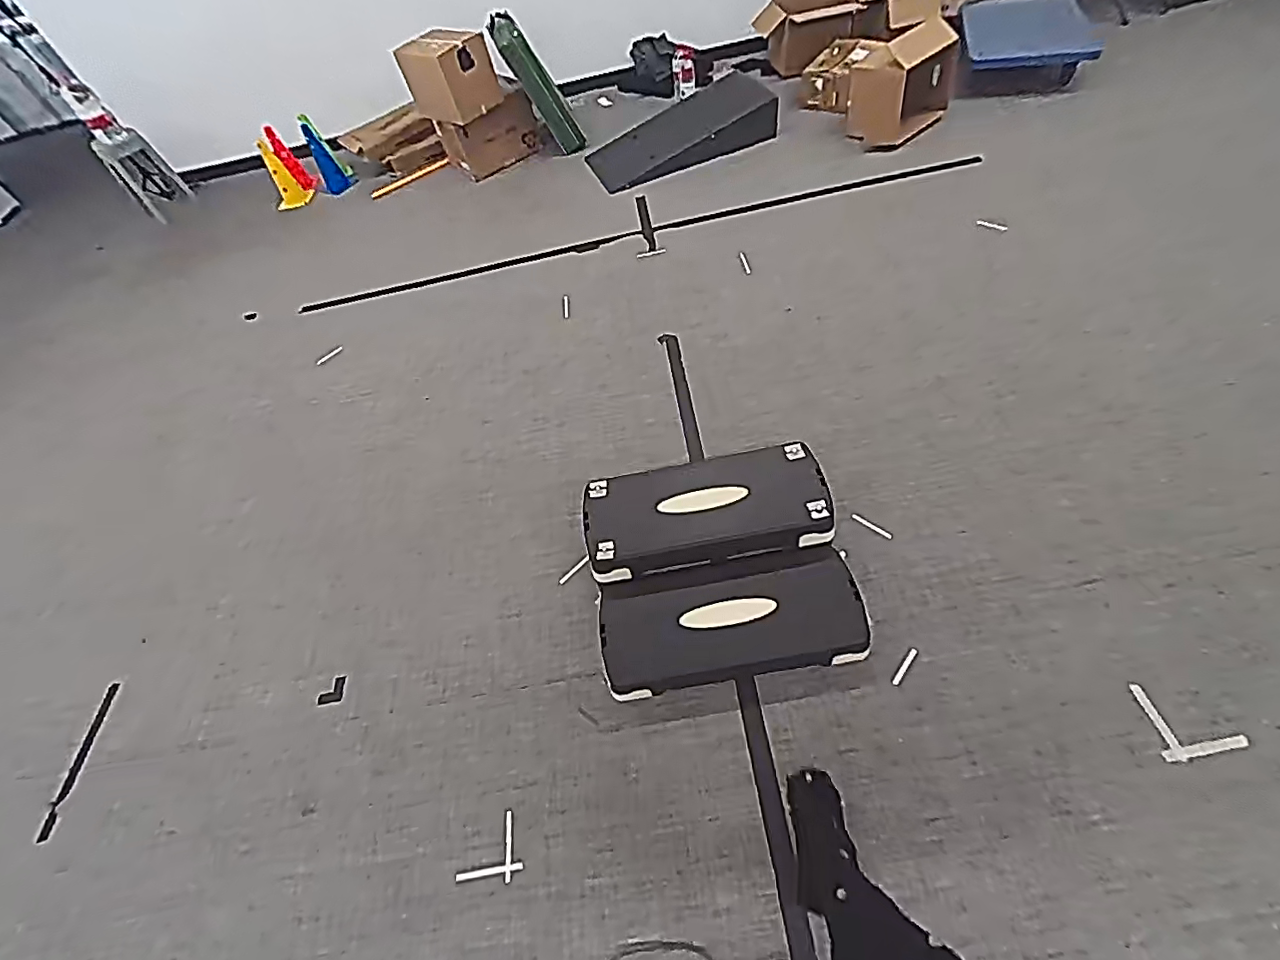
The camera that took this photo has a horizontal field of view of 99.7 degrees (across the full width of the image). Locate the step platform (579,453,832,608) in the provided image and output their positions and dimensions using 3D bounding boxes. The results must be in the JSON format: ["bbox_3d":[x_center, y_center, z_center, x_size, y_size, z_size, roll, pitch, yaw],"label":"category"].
[{"bbox_3d":[0.172,0.137,1.520,0.684,0.204,0.286,-11,54,2],"label":"step platform"}]
